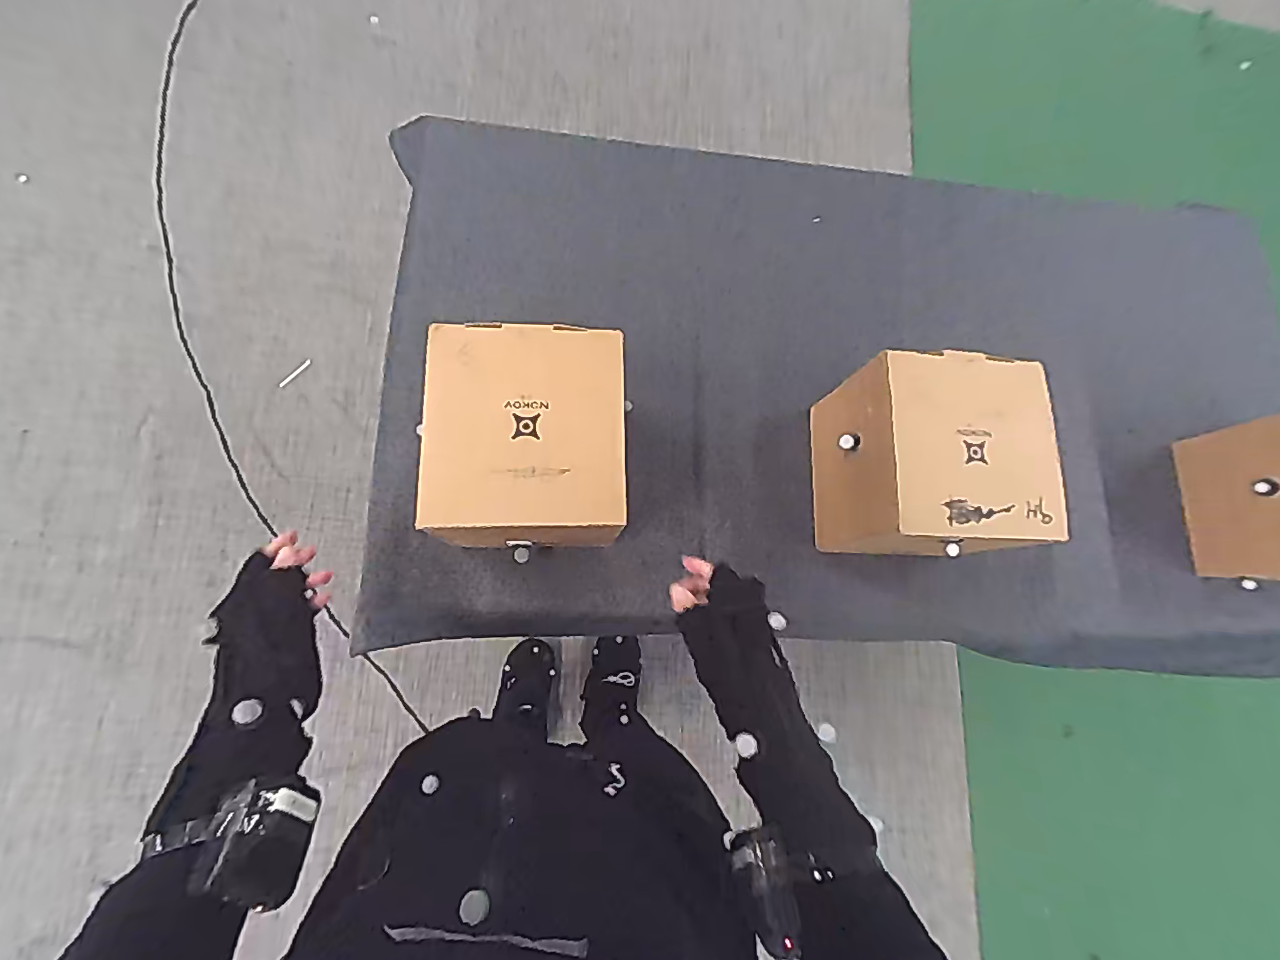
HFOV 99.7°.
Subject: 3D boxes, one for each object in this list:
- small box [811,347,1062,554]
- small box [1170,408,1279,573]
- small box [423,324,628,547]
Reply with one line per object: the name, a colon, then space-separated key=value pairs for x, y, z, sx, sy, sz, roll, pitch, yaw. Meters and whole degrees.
small box: x=0.295 y=-0.020 z=0.578 sx=0.168 sy=0.176 sz=0.179 roll=3 pitch=77 yaw=-6
small box: x=0.782 y=0.018 z=0.626 sx=0.168 sy=0.176 sz=0.179 roll=3 pitch=77 yaw=-4
small box: x=-0.103 y=-0.032 z=0.530 sx=0.168 sy=0.176 sz=0.179 roll=-1 pitch=78 yaw=-7
